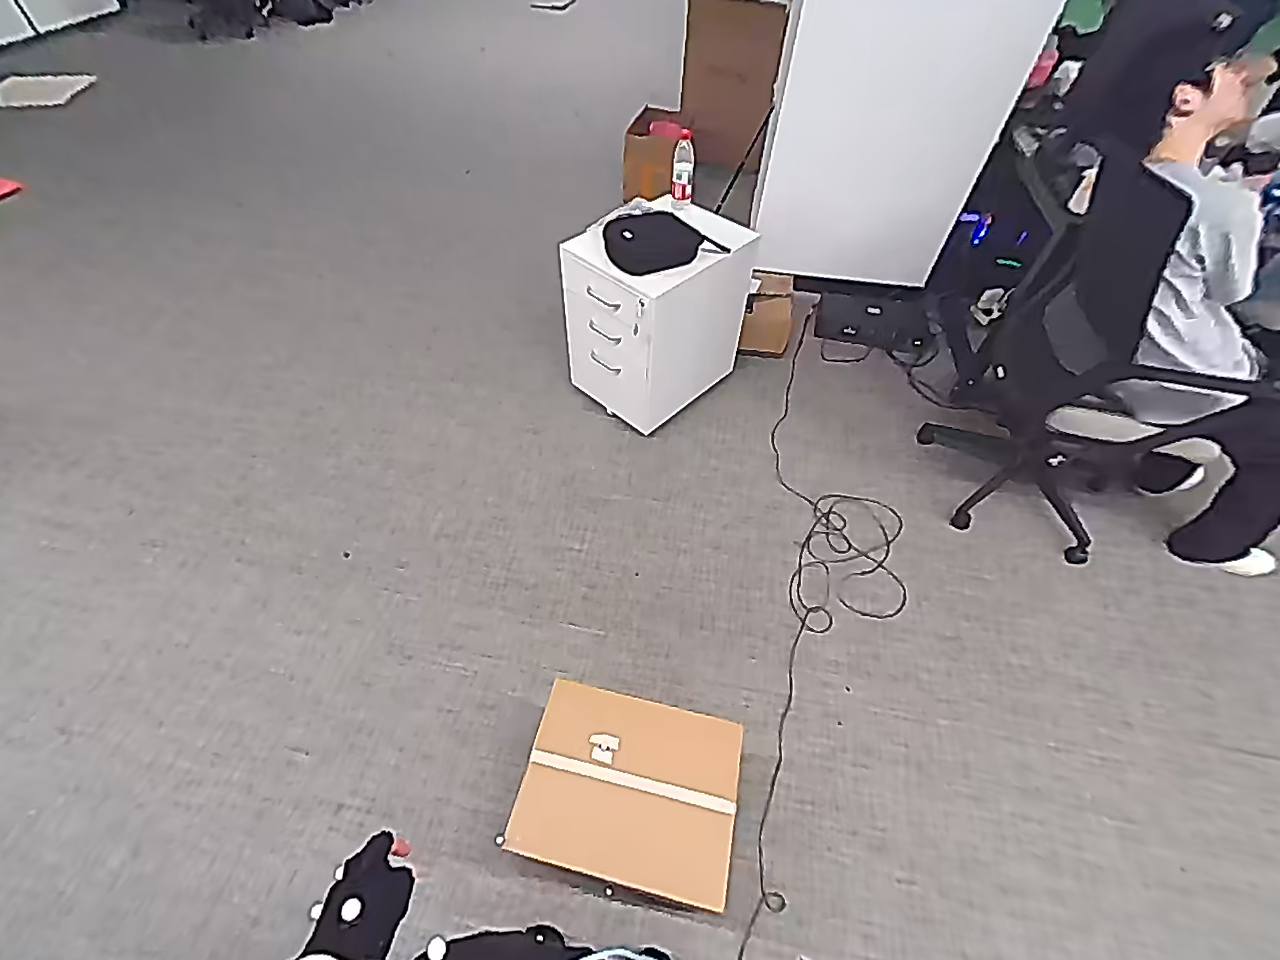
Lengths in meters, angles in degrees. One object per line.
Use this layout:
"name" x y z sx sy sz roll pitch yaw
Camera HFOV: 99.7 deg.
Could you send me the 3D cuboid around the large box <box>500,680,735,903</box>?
"large box" -0.030 0.669 1.160 0.408 0.320 0.320 11 52 7
